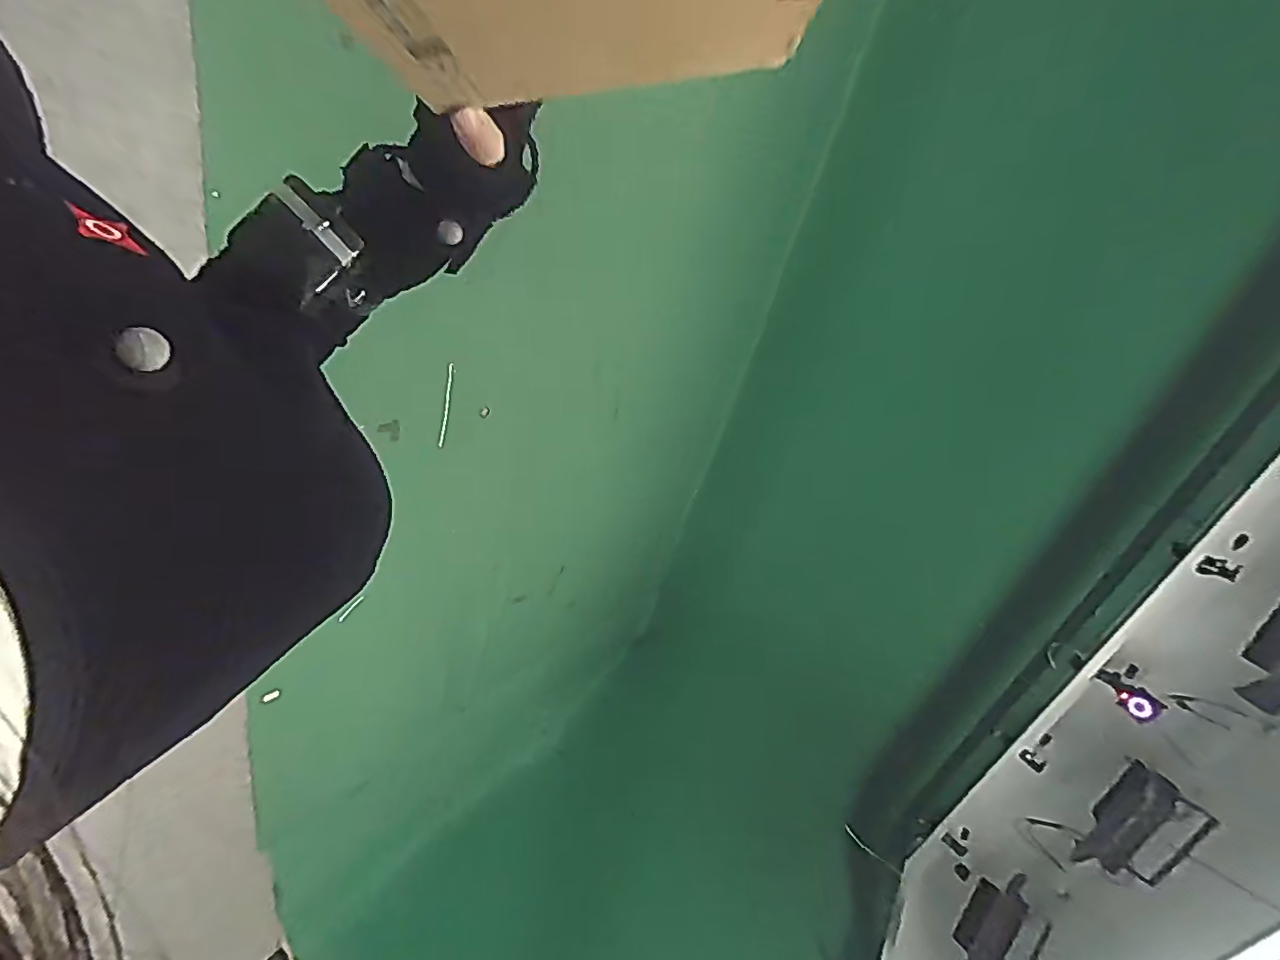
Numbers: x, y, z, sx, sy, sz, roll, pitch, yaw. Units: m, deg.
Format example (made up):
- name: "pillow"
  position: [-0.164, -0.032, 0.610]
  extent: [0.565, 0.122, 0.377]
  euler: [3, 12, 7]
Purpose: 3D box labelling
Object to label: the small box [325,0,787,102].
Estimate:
- name: "small box"
  position: [-0.036, -0.244, 0.159]
  extent: [0.168, 0.176, 0.179]
  euler: [-91, 174, -74]
